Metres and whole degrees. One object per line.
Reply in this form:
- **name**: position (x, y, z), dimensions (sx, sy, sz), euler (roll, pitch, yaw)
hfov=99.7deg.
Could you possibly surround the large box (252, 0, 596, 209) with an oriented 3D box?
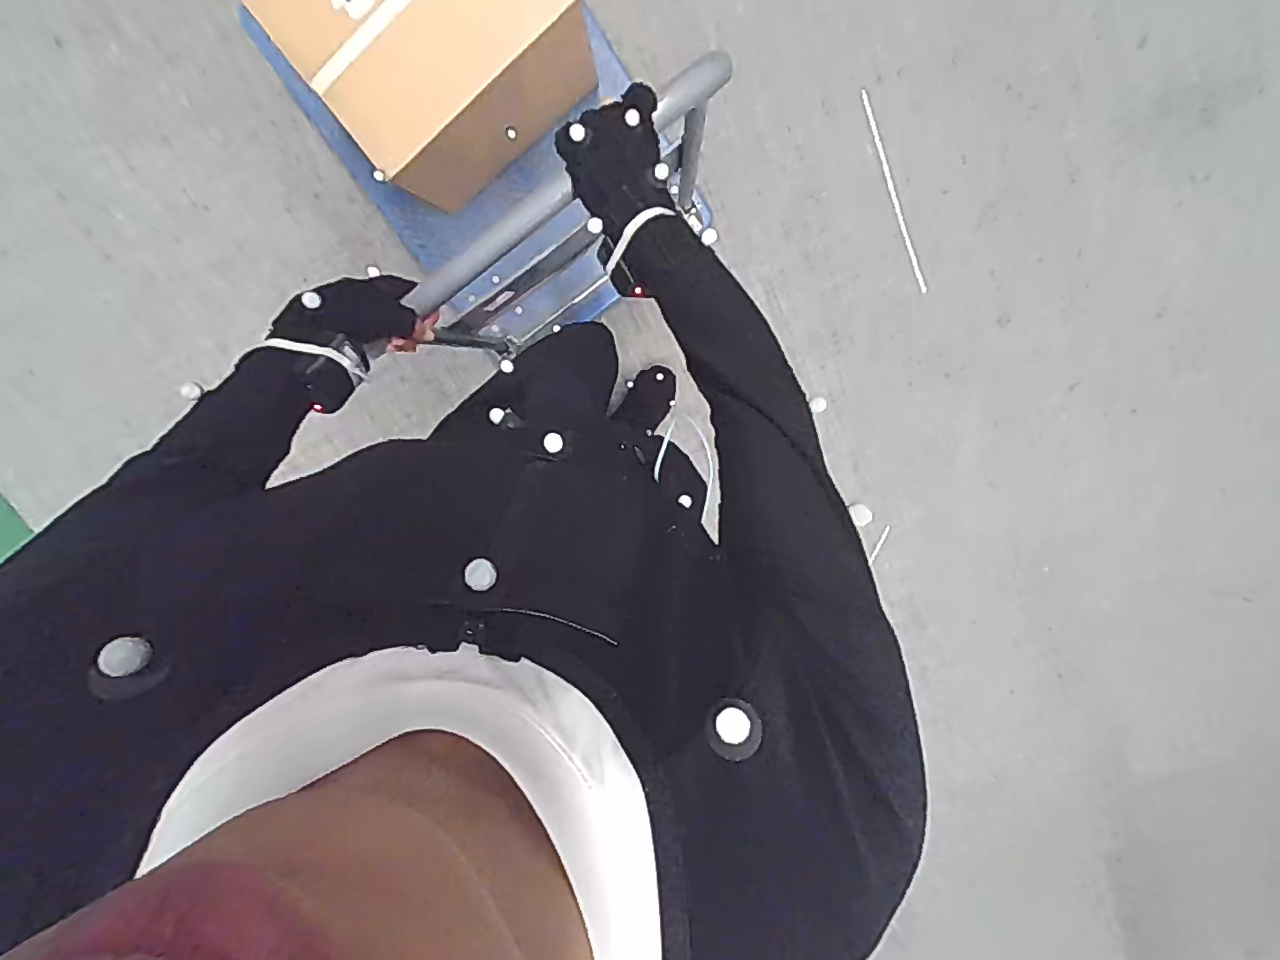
- **large box**: position (-0.330, -0.758, 0.941), dimensions (0.408, 0.320, 0.320), euler (-37, 103, 11)
